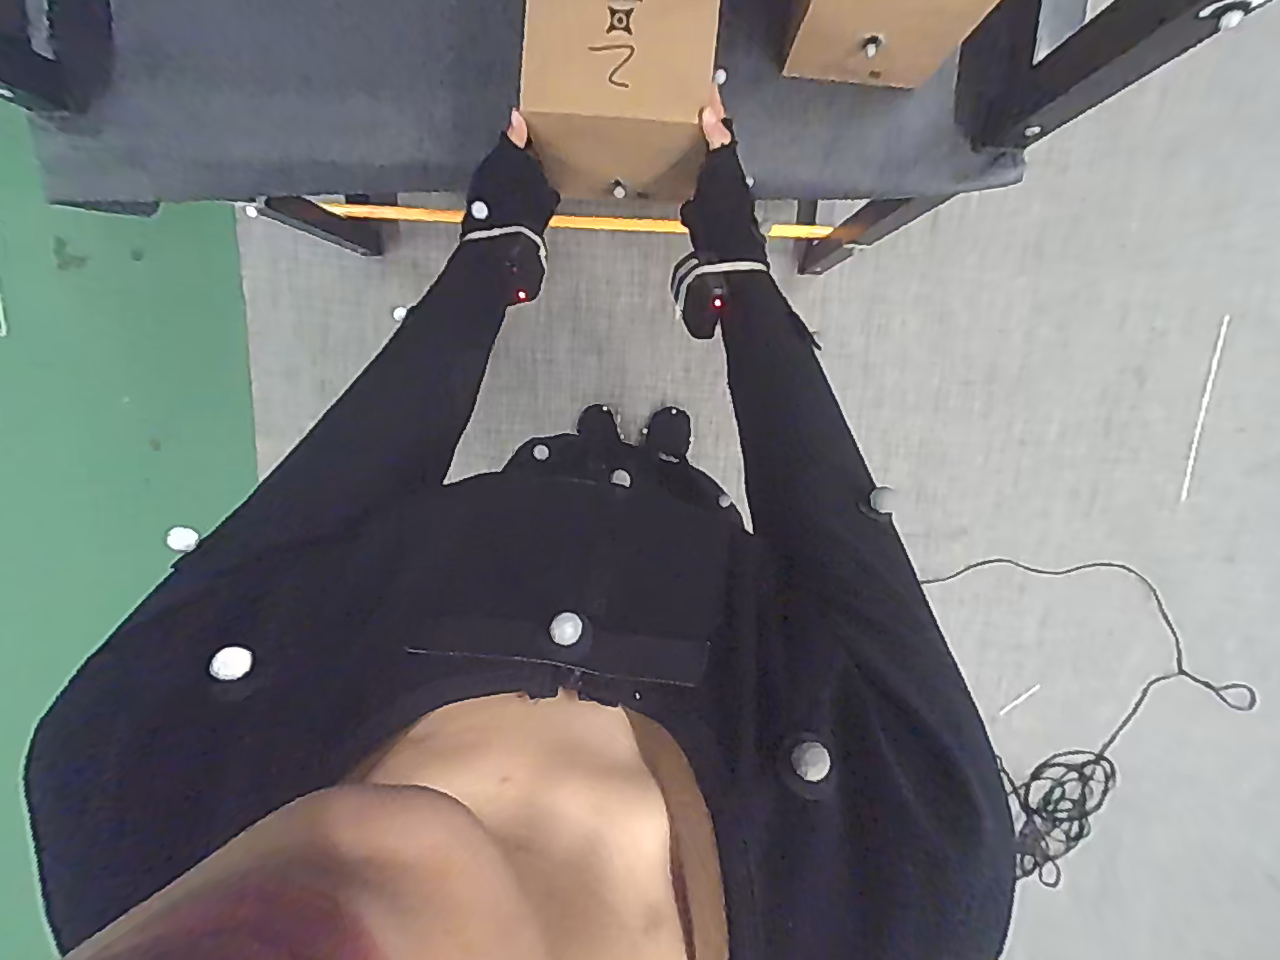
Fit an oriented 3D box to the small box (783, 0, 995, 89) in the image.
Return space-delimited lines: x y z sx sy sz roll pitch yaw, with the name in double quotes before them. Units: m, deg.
"small box" 0.251 -0.534 0.543 0.168 0.176 0.179 6 100 0
